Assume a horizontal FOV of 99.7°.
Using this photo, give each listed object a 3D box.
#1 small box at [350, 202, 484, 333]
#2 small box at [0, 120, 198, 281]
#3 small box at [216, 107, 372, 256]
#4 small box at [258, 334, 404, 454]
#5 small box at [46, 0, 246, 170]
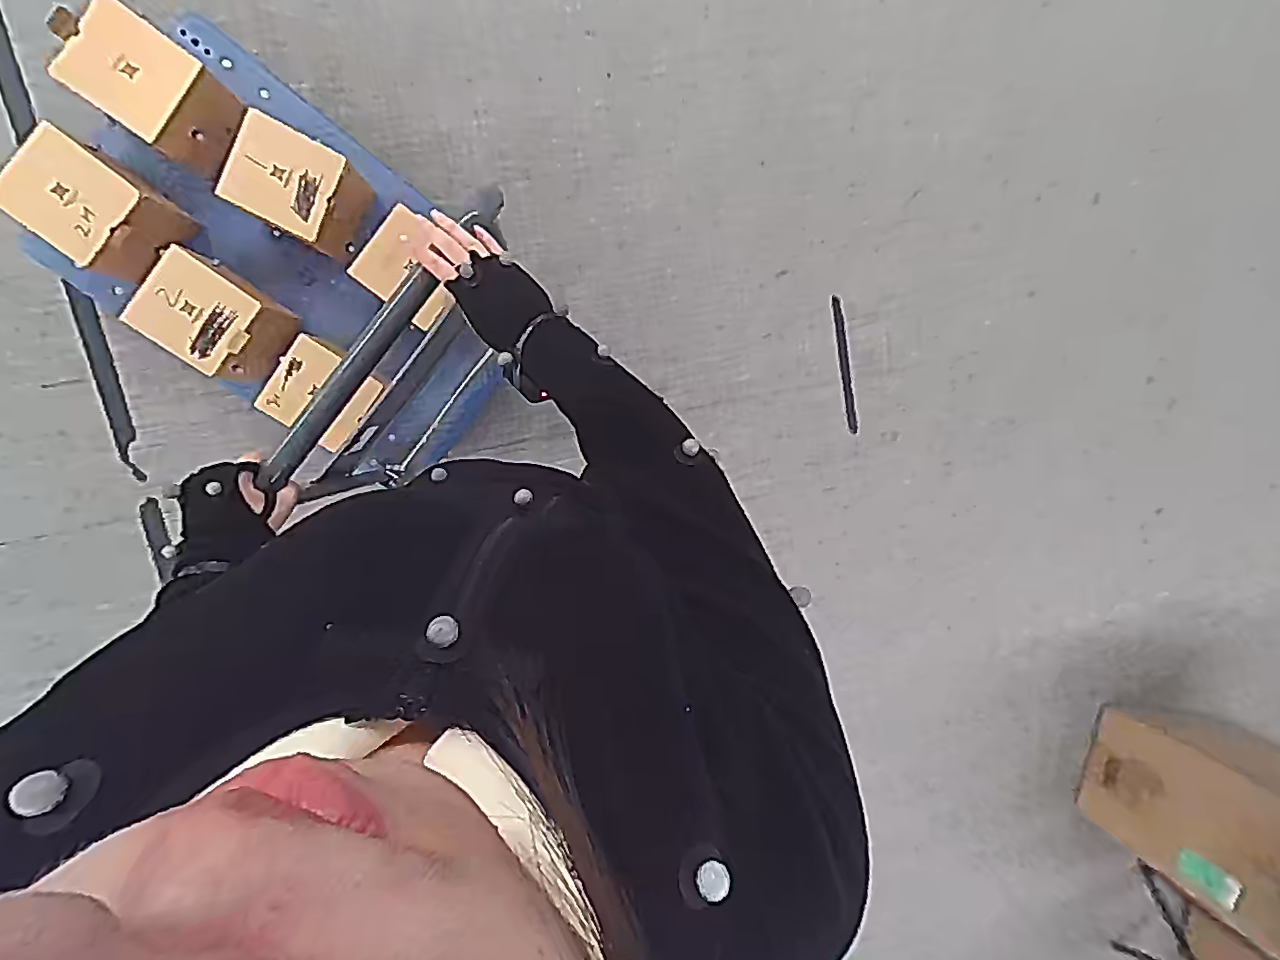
[{"bbox_3d":[-0.439,-0.416,1.099,0.179,0.176,0.168,37,90,-13],"label":"small box"},{"bbox_3d":[-0.981,-0.492,0.988,0.179,0.176,0.168,39,91,-14],"label":"small box"},{"bbox_3d":[-0.648,-0.555,1.039,0.179,0.176,0.168,25,94,-12],"label":"small box"},{"bbox_3d":[-0.614,-0.174,1.102,0.179,0.176,0.168,33,90,-13],"label":"small box"},{"bbox_3d":[-0.871,-0.700,0.978,0.179,0.176,0.168,34,92,-13],"label":"small box"}]
